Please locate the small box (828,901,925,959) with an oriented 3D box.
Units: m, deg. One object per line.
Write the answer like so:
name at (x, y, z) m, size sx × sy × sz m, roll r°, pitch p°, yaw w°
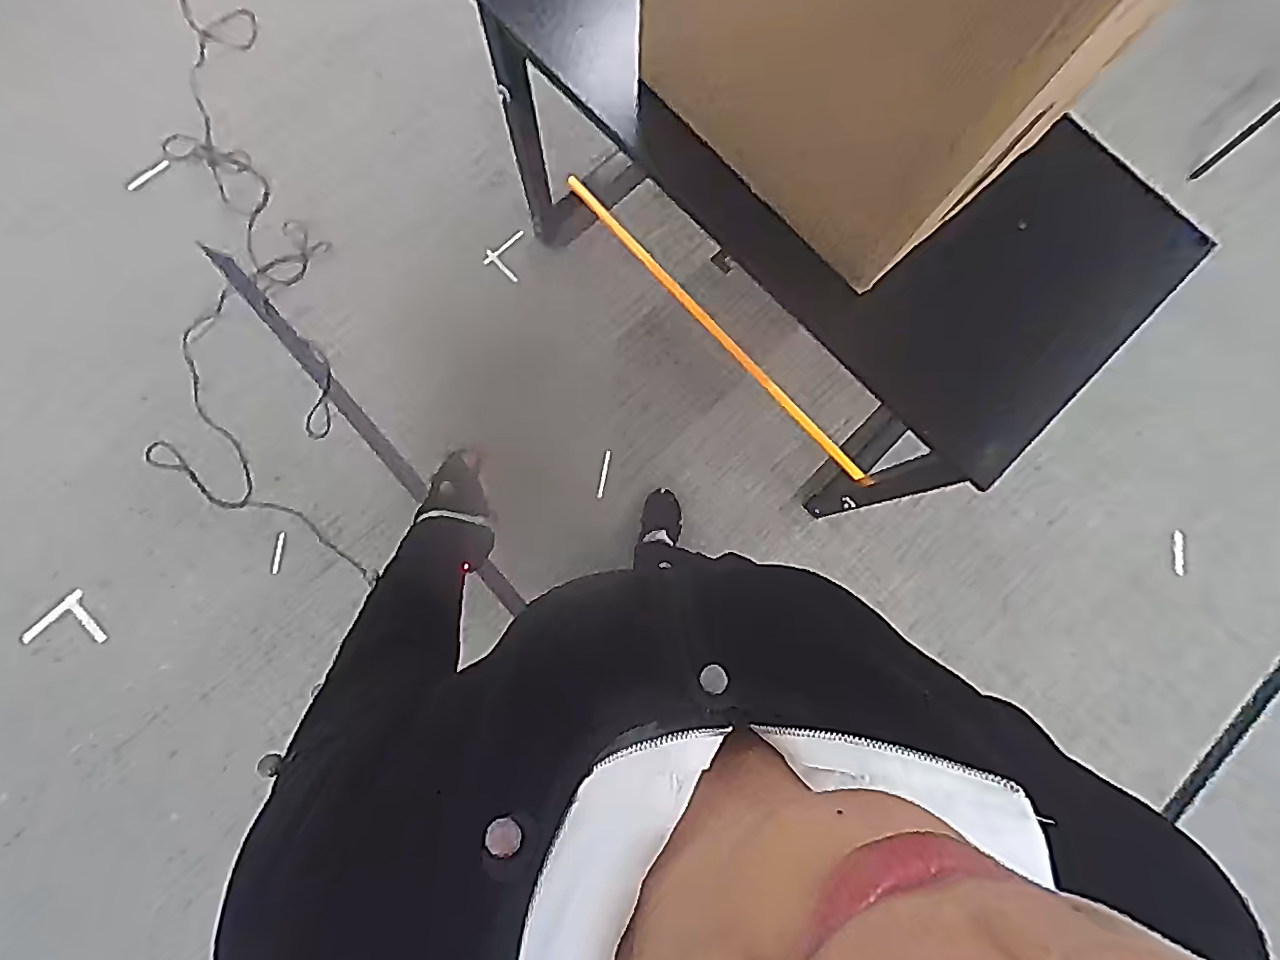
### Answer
small box at (0.579, 1.165, 1.280) m, size 0.168 × 0.176 × 0.179 m, roll 44°, pitch 83°, yaw 5°
